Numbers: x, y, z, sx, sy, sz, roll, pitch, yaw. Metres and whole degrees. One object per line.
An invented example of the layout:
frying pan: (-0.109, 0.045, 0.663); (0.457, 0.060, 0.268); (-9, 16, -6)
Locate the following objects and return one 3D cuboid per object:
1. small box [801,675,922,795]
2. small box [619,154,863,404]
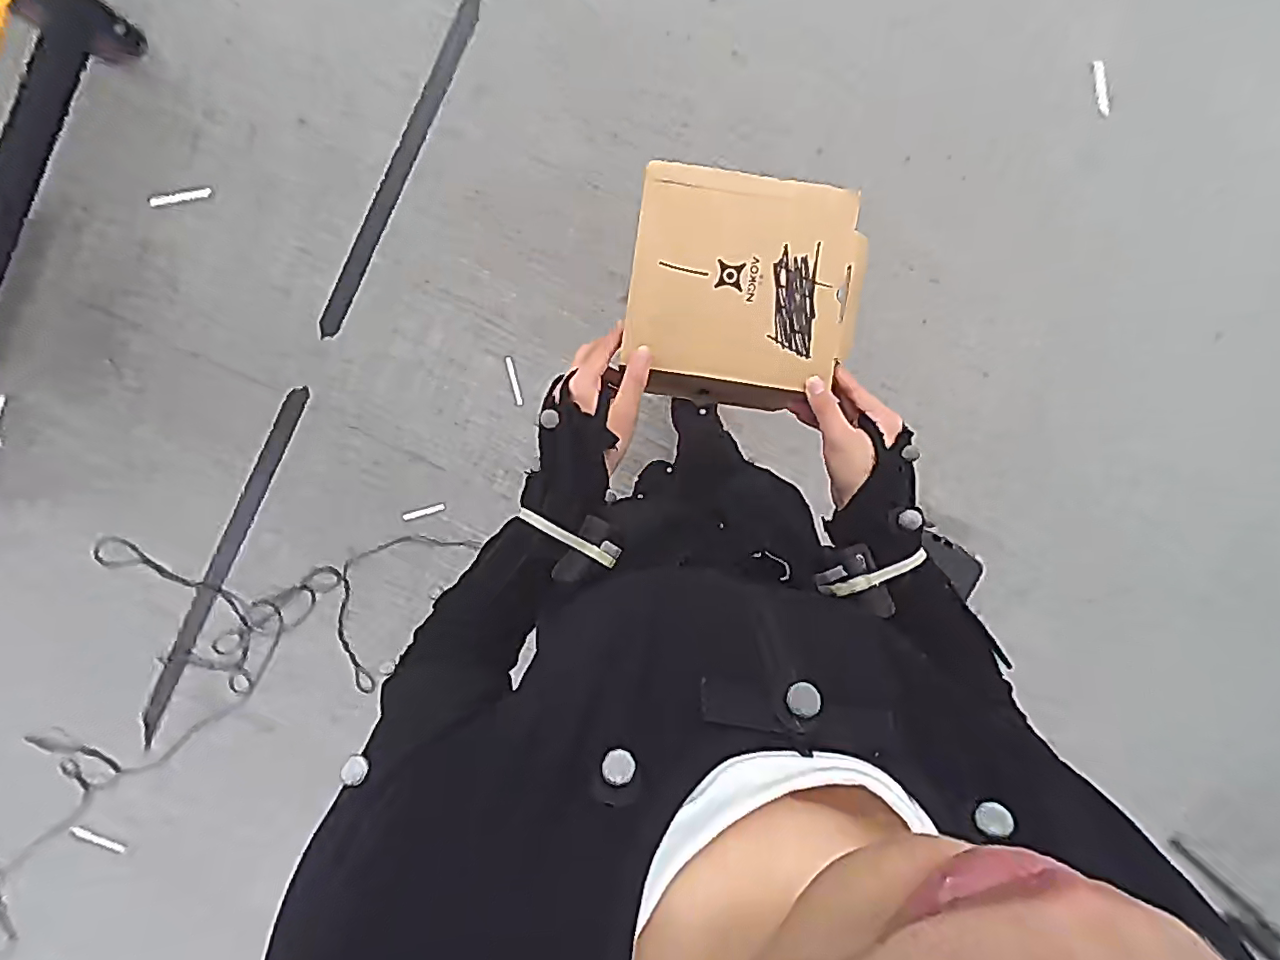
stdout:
small box: (0.512, 0.590, 1.274); (0.179, 0.176, 0.168); (24, 95, -4)
small box: (0.078, -0.166, 0.506); (0.179, 0.176, 0.168); (7, 93, -1)
